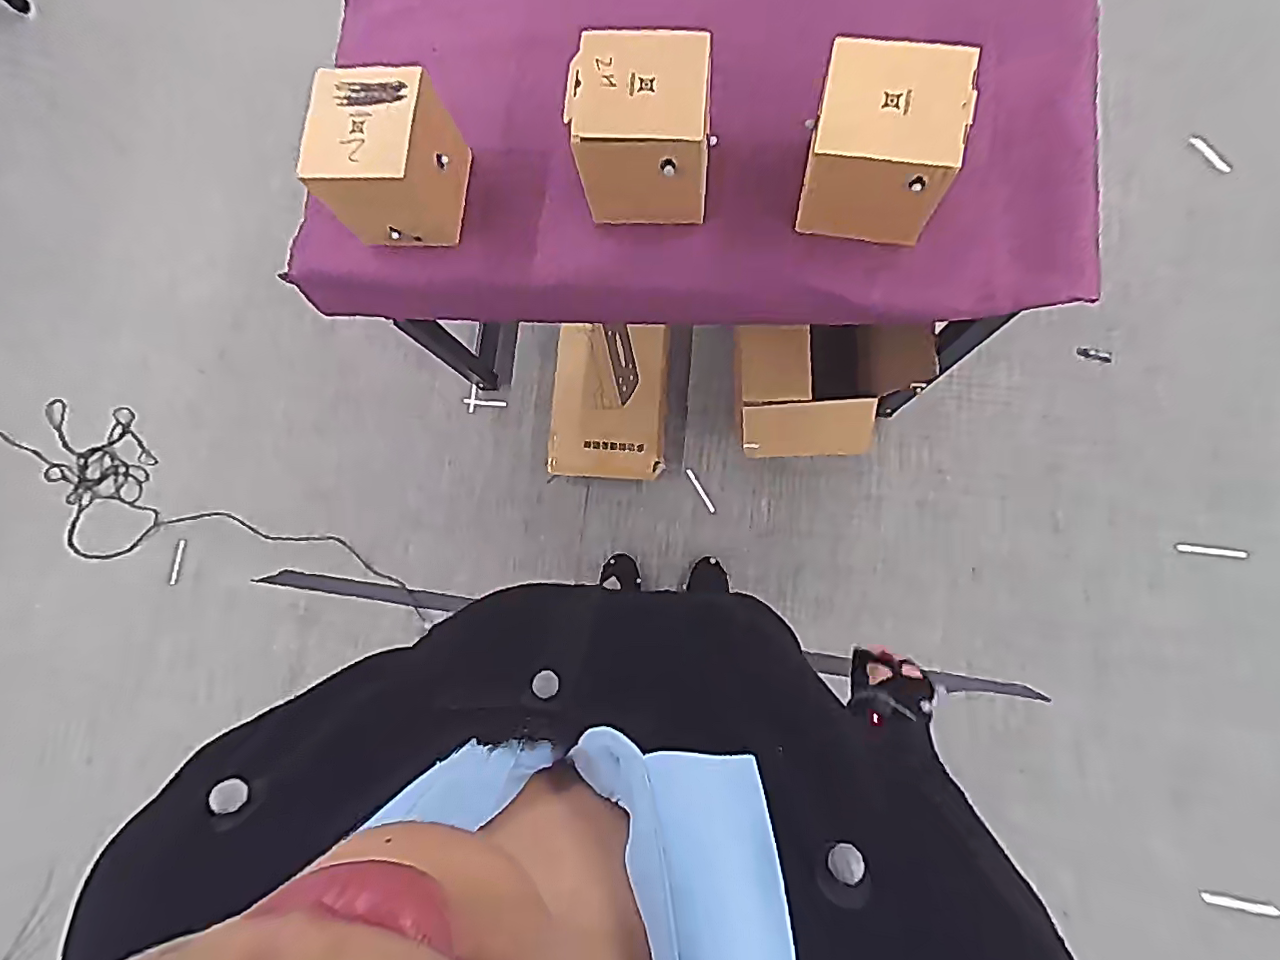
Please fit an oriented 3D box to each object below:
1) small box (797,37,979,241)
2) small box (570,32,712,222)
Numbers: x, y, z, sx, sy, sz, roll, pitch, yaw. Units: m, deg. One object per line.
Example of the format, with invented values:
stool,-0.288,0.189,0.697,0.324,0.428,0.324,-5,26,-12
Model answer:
small box,0.322,-0.453,0.739,0.179,0.176,0.168,11,83,8
small box,0.010,-0.497,0.782,0.179,0.176,0.168,4,80,7
